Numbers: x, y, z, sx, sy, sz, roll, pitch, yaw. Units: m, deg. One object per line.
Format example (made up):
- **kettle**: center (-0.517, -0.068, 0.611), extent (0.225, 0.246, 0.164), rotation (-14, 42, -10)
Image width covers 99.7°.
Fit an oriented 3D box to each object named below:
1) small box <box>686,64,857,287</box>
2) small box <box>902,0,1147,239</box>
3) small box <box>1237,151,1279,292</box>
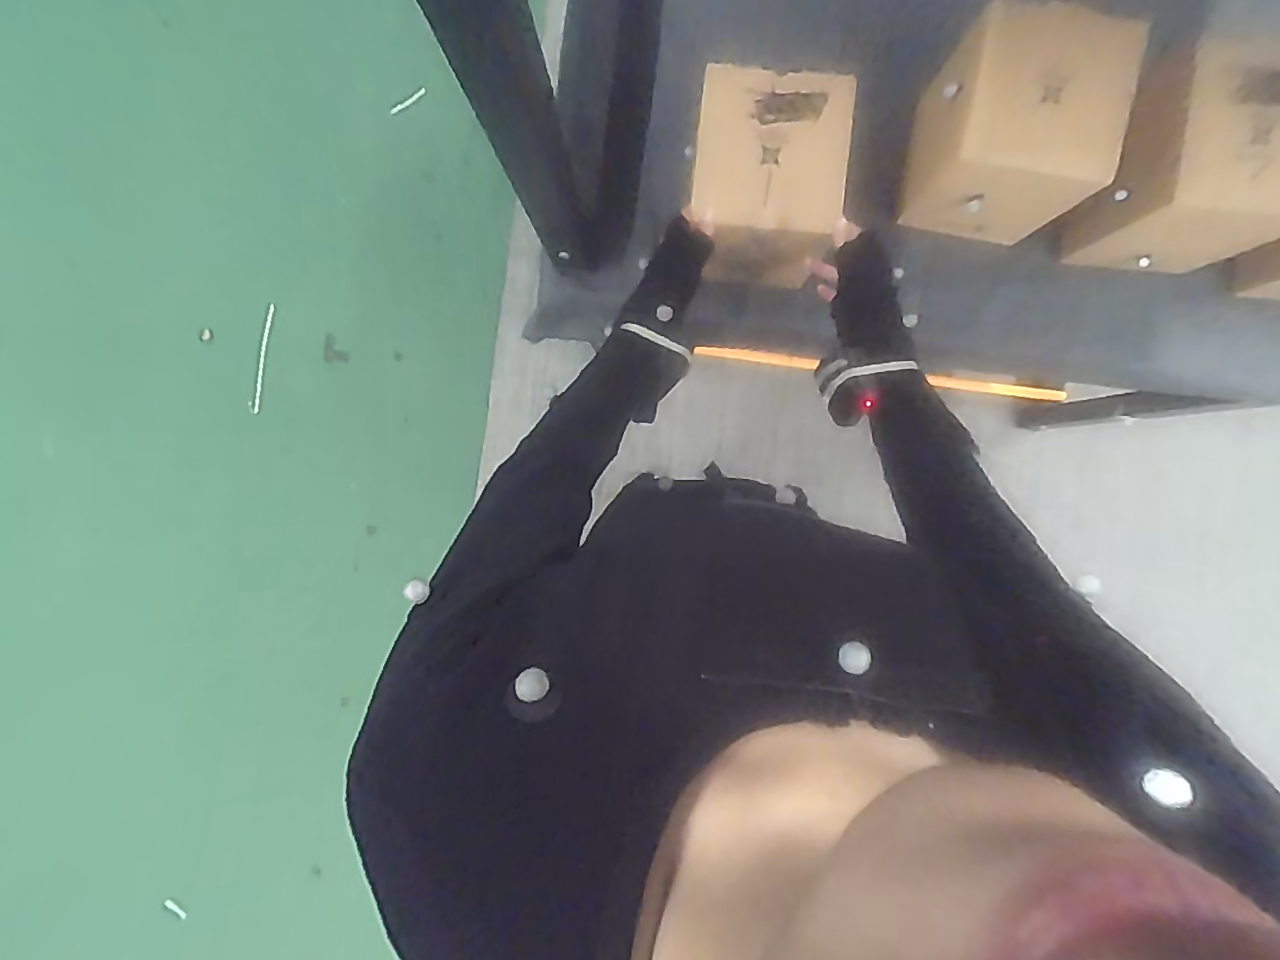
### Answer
- **small box**: center (0.149, -0.360, 0.668), extent (0.168, 0.176, 0.179), rotation (6, 91, 2)
- **small box**: center (0.447, -0.422, 0.661), extent (0.168, 0.176, 0.179), rotation (12, 91, 2)
- **small box**: center (0.884, -0.327, 0.642), extent (0.168, 0.176, 0.179), rotation (6, 91, 2)
